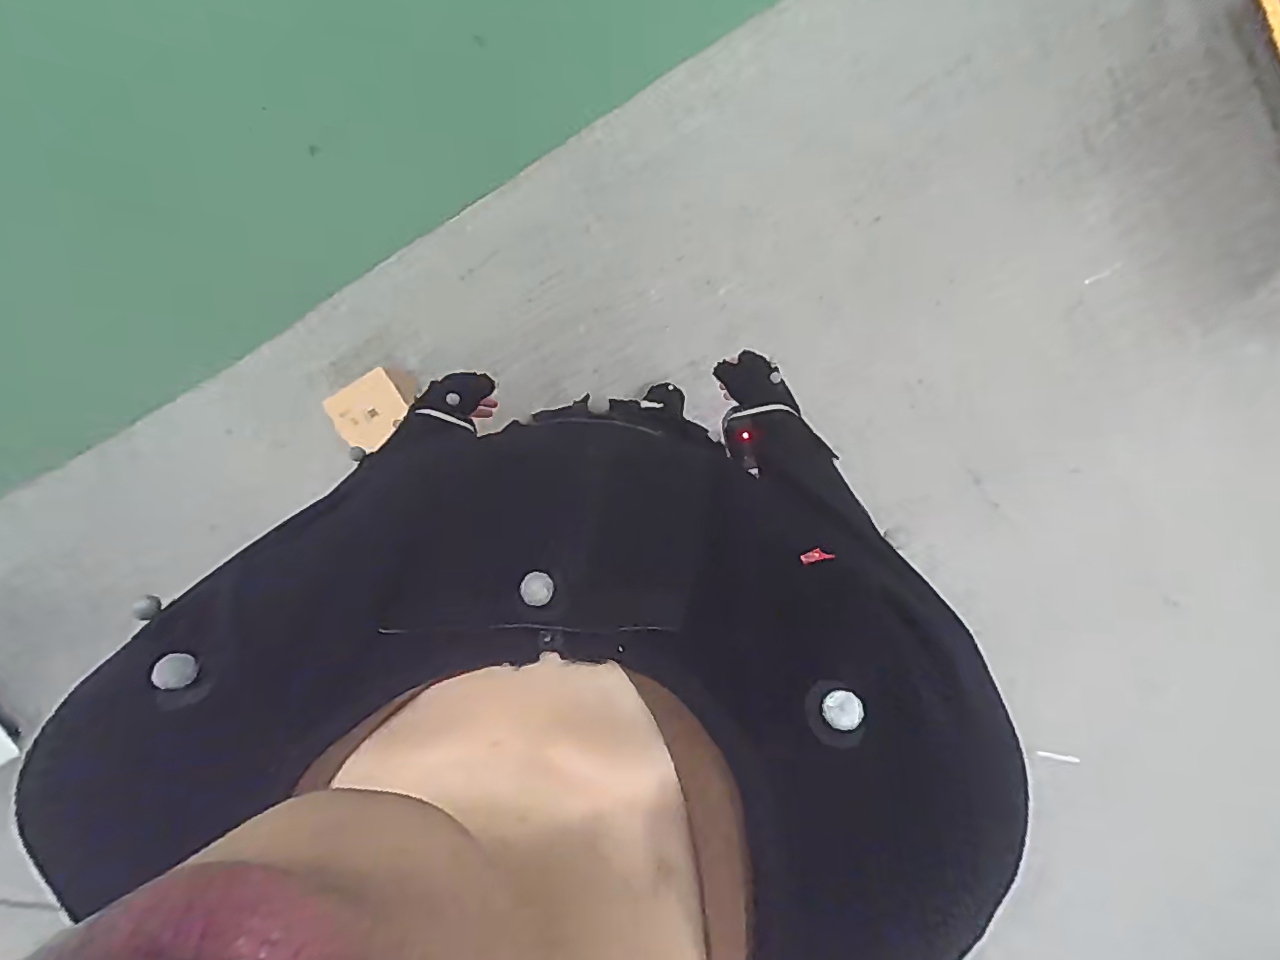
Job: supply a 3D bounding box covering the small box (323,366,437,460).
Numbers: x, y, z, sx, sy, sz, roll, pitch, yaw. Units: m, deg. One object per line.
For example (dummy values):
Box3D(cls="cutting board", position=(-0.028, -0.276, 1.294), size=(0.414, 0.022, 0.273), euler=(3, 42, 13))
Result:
Box3D(cls="small box", position=(-0.636, -0.170, 1.357), size=(0.179, 0.176, 0.168), euler=(-31, 97, 3))
